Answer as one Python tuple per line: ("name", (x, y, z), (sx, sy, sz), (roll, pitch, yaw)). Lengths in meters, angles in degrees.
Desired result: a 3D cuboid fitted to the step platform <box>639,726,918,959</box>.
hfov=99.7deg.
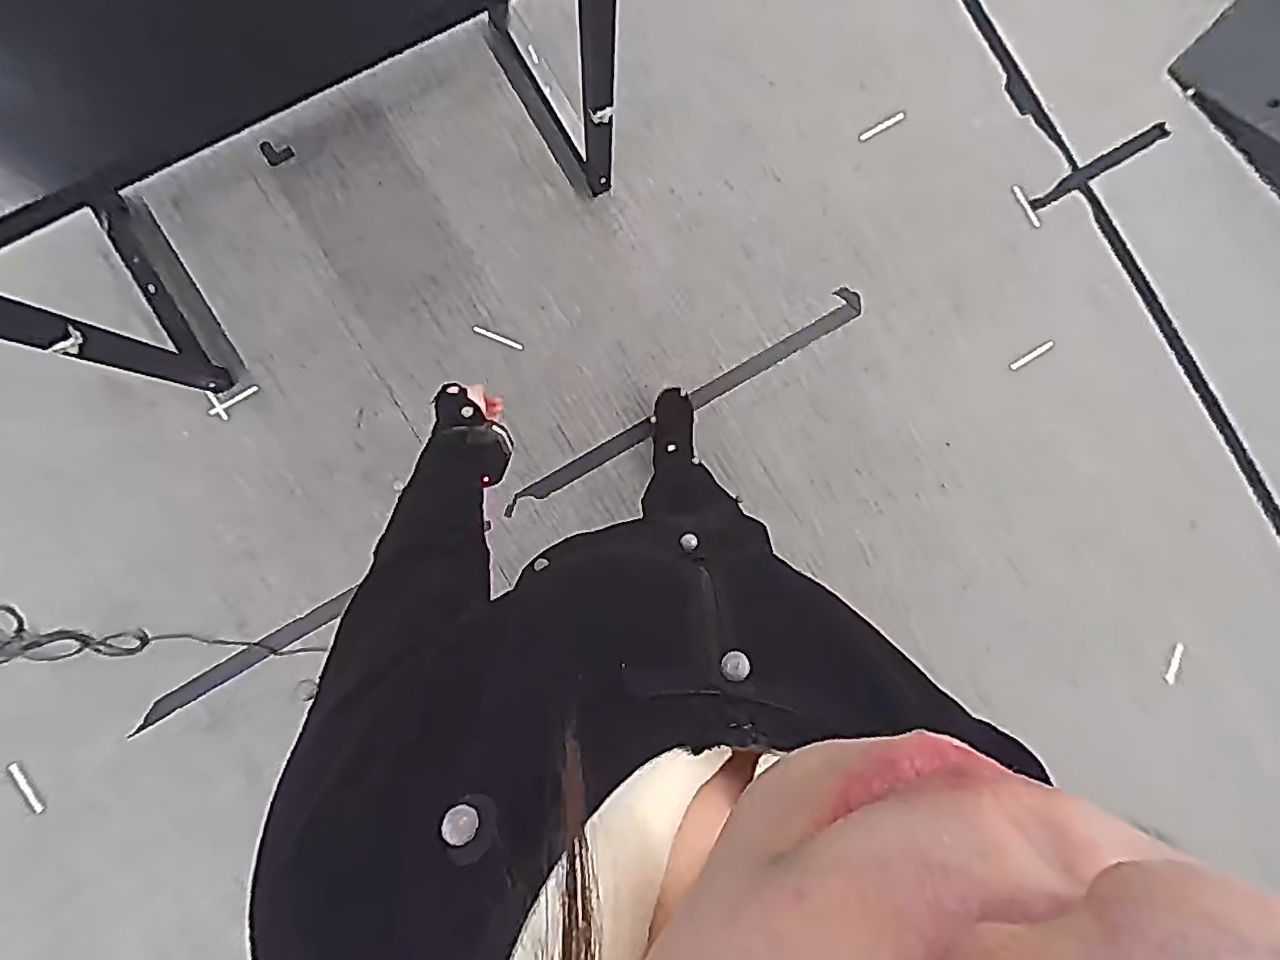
("step platform", (0.347, 0.929, 1.388), (0.684, 0.204, 0.286), (-25, 90, -6))
